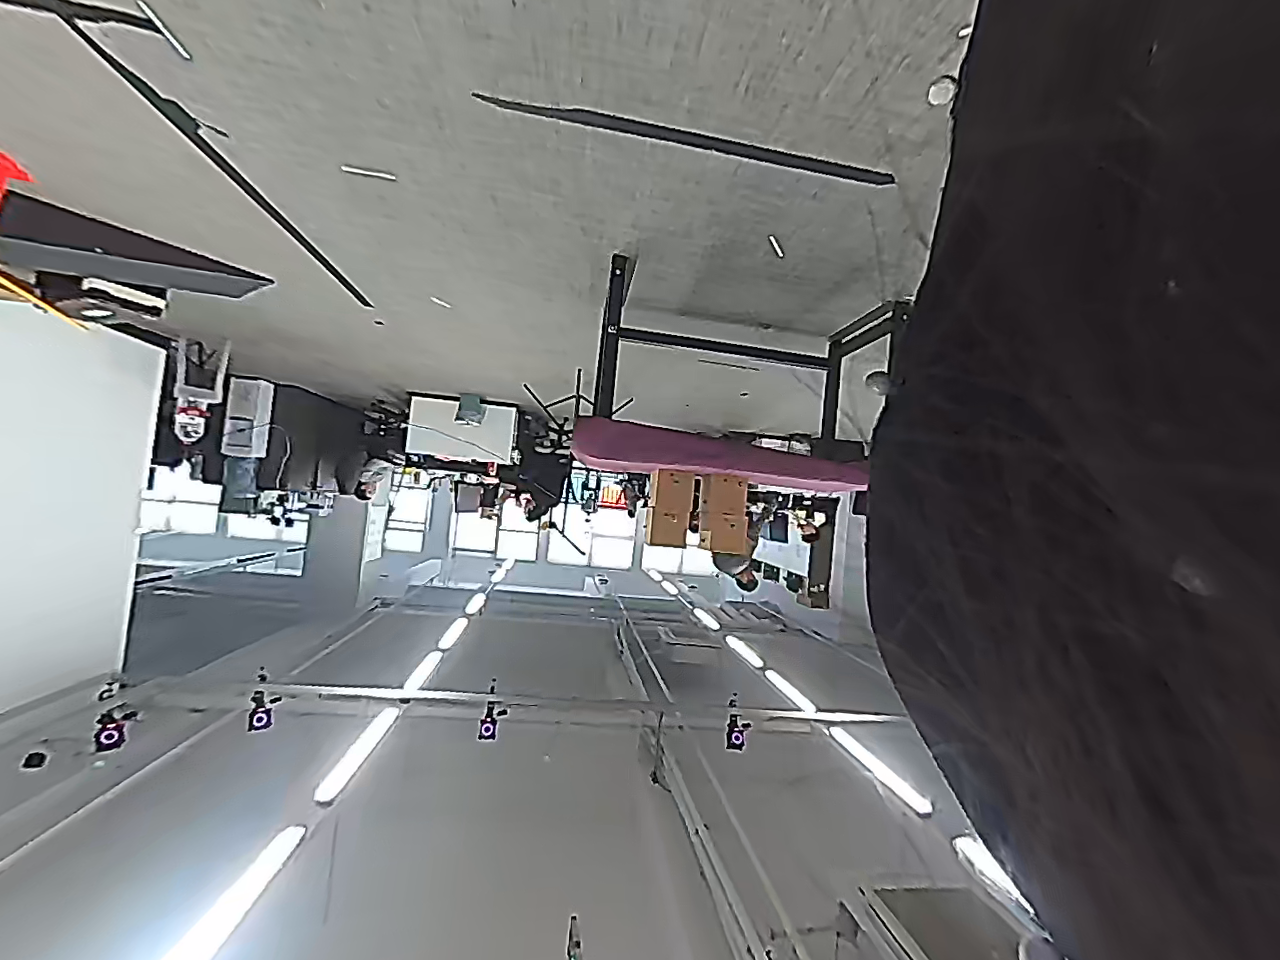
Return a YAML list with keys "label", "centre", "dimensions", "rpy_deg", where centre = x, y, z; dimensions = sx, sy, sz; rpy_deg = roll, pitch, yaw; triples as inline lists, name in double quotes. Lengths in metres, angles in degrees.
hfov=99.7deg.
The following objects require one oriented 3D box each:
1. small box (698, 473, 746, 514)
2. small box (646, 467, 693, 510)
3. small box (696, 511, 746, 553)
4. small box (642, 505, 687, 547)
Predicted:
- label: "small box"
  centre: [0.360, 0.059, 2.383]
  dimensions: [0.168, 0.176, 0.179]
  rpy_deg: [6, 177, -9]
- label: "small box"
  centre: [0.130, 0.036, 2.367]
  dimensions: [0.168, 0.176, 0.179]
  rpy_deg: [5, 177, -9]
- label: "small box"
  centre: [0.357, 0.222, 2.383]
  dimensions: [0.168, 0.176, 0.179]
  rpy_deg: [6, 176, -11]
- label: "small box"
  centre: [0.108, 0.198, 2.364]
  dimensions: [0.168, 0.176, 0.179]
  rpy_deg: [5, 176, -7]
